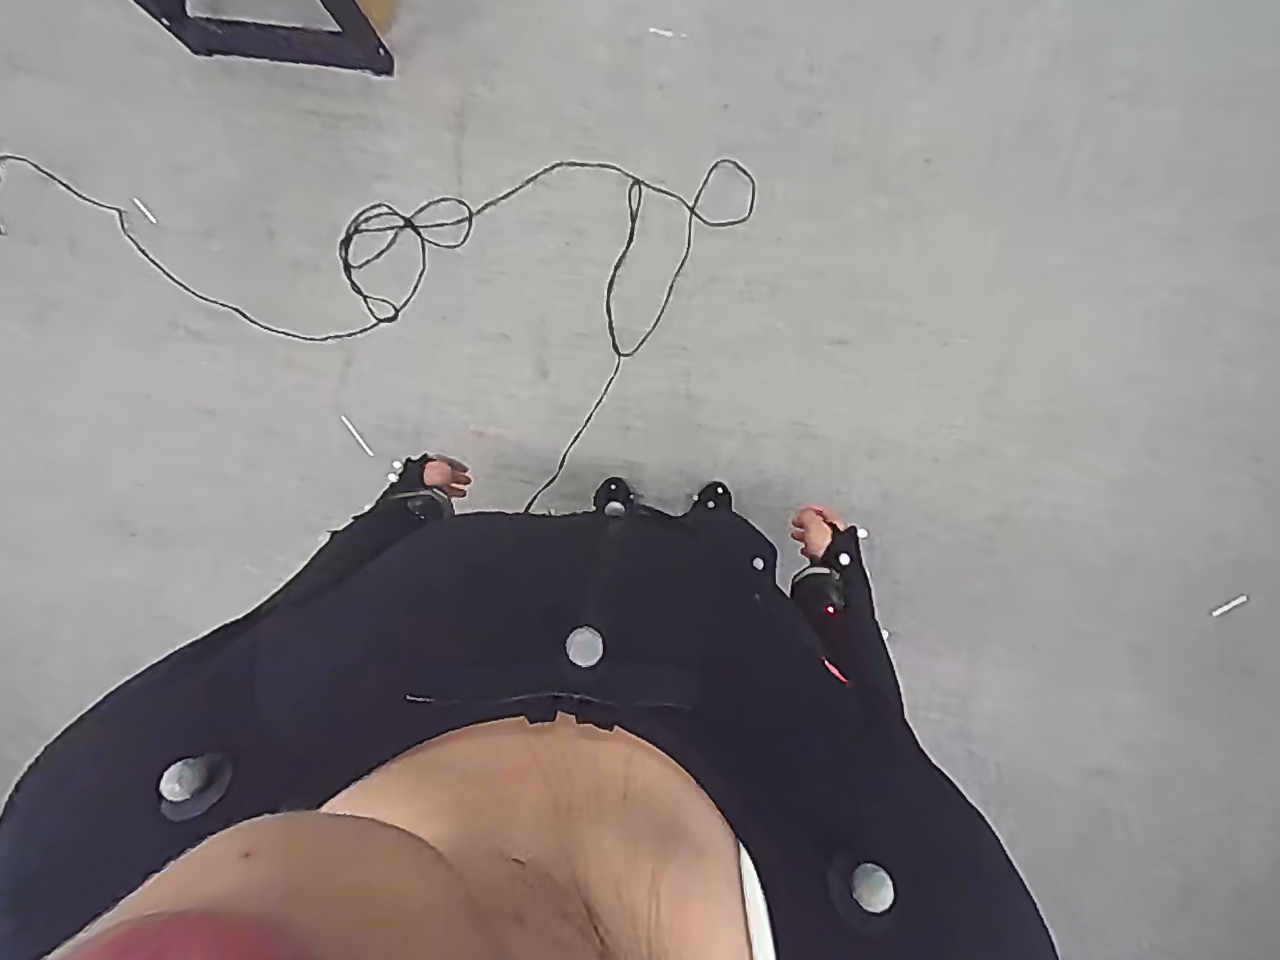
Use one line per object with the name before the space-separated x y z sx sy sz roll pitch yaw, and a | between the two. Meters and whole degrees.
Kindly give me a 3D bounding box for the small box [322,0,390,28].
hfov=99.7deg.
small box | -0.760 -1.338 1.404 0.168 0.176 0.179 20 94 1
